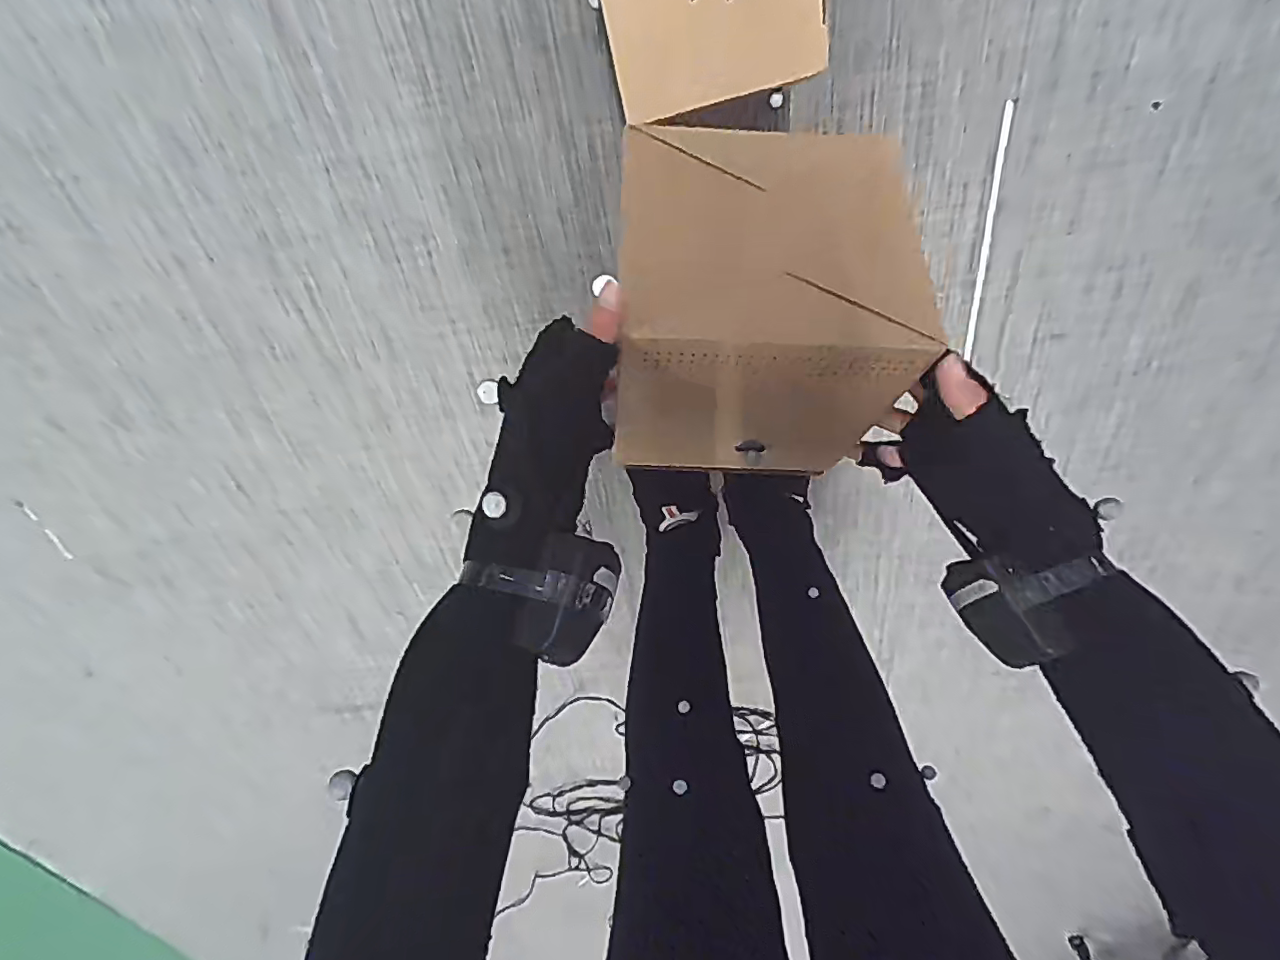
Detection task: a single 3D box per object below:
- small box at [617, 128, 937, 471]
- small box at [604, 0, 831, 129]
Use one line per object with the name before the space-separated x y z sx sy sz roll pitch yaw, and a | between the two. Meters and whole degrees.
small box | 0.073 -0.115 0.383 0.179 0.168 0.176 2 156 -4
small box | 0.061 -0.434 0.491 0.179 0.176 0.168 -11 121 9
